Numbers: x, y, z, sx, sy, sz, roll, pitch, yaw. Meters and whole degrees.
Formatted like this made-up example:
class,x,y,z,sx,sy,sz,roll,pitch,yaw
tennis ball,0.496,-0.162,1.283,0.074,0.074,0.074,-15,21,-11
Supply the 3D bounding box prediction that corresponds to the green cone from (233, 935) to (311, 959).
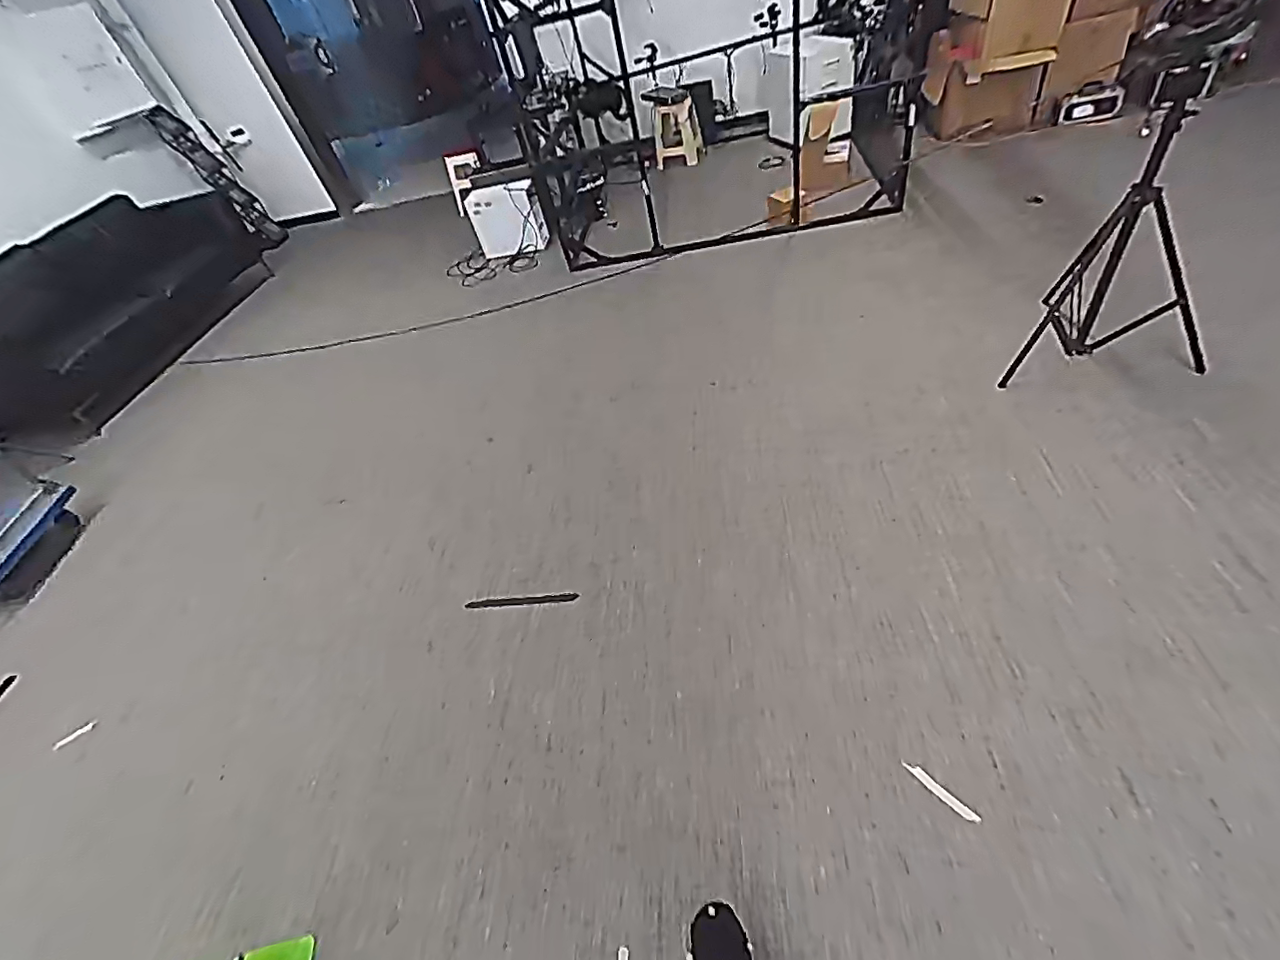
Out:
class,x,y,z,sx,sy,sz,roll,pitch,yaw
green cone,-0.860,1.016,1.050,0.202,0.368,0.200,-16,44,0
